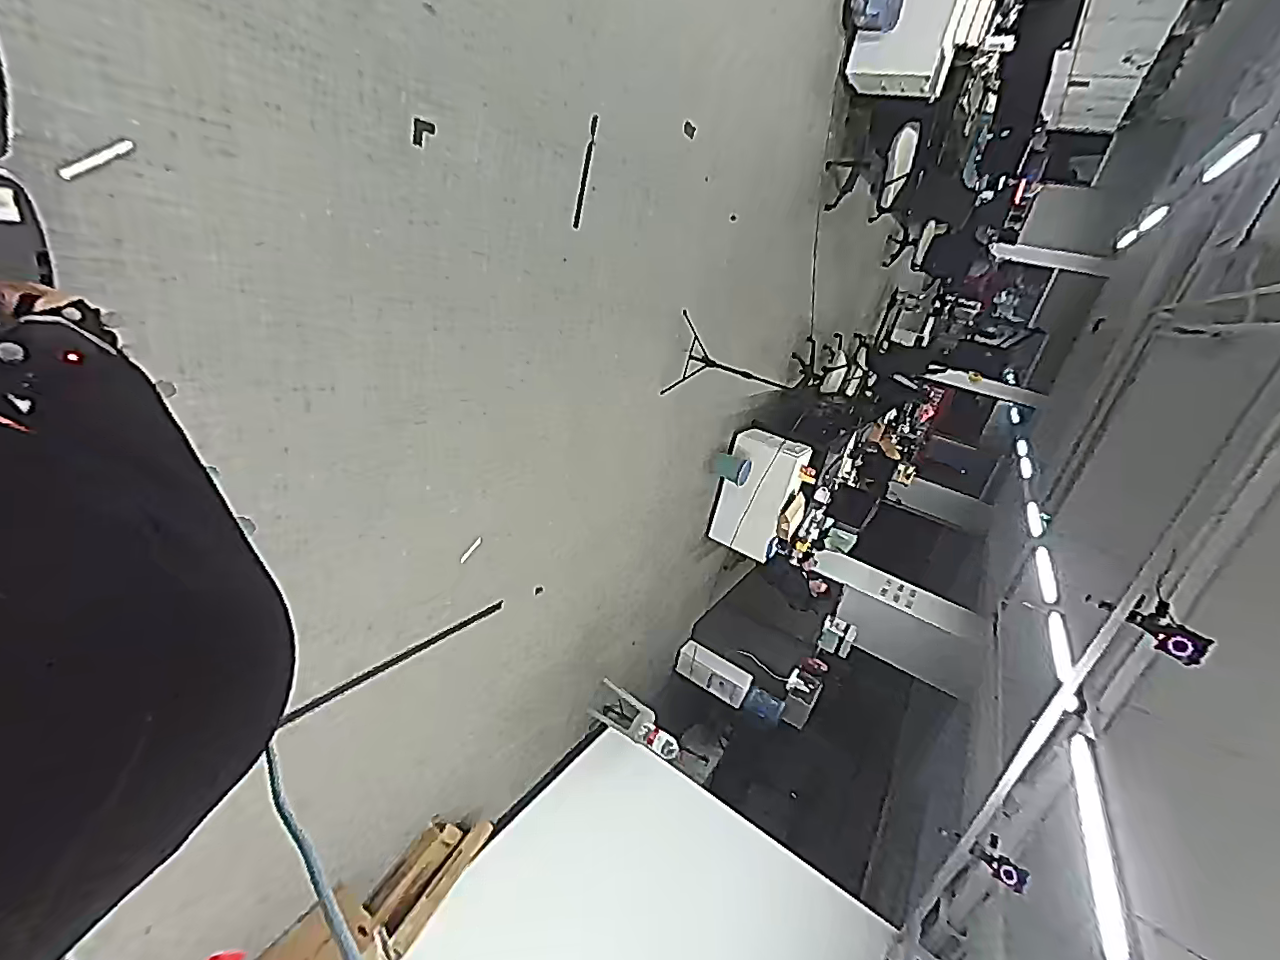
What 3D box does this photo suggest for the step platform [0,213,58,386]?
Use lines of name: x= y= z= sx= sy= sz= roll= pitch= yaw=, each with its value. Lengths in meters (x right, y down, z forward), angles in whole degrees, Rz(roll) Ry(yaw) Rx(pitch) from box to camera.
step platform: x=-1.274 y=-0.285 z=0.716 sx=0.684 sy=0.204 sz=0.286 roll=-12 pitch=121 yaw=-56
